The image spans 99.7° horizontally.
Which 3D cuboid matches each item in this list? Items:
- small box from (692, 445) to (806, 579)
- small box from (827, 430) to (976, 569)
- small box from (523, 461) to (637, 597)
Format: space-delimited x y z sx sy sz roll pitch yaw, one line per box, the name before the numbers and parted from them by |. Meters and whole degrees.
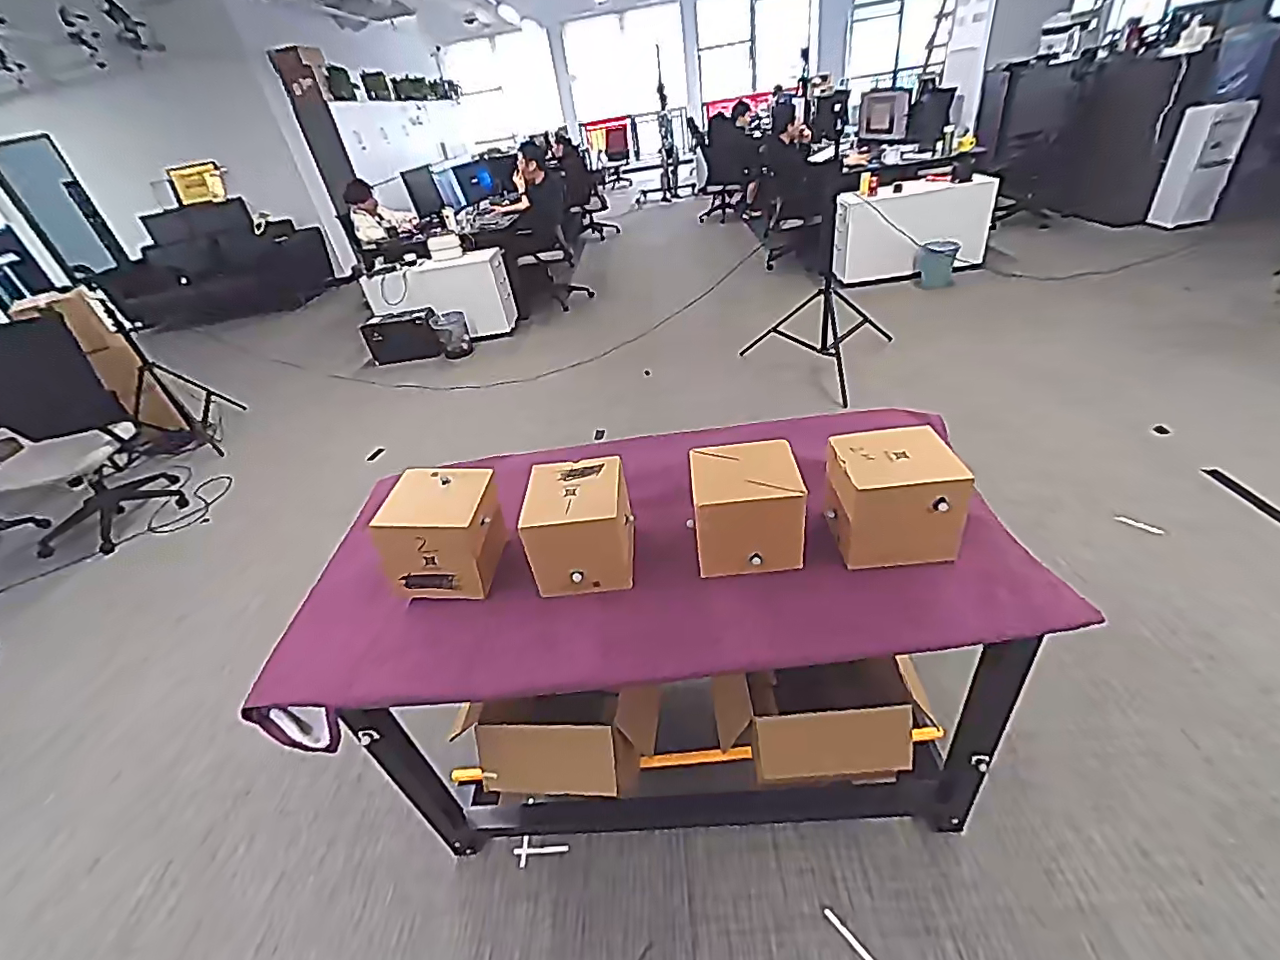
small box | 0.187 0.052 0.955 0.179 0.176 0.168 -6 34 6
small box | 0.430 0.034 0.921 0.179 0.176 0.168 -6 33 6
small box | -0.099 0.089 0.981 0.168 0.176 0.179 -7 35 5
